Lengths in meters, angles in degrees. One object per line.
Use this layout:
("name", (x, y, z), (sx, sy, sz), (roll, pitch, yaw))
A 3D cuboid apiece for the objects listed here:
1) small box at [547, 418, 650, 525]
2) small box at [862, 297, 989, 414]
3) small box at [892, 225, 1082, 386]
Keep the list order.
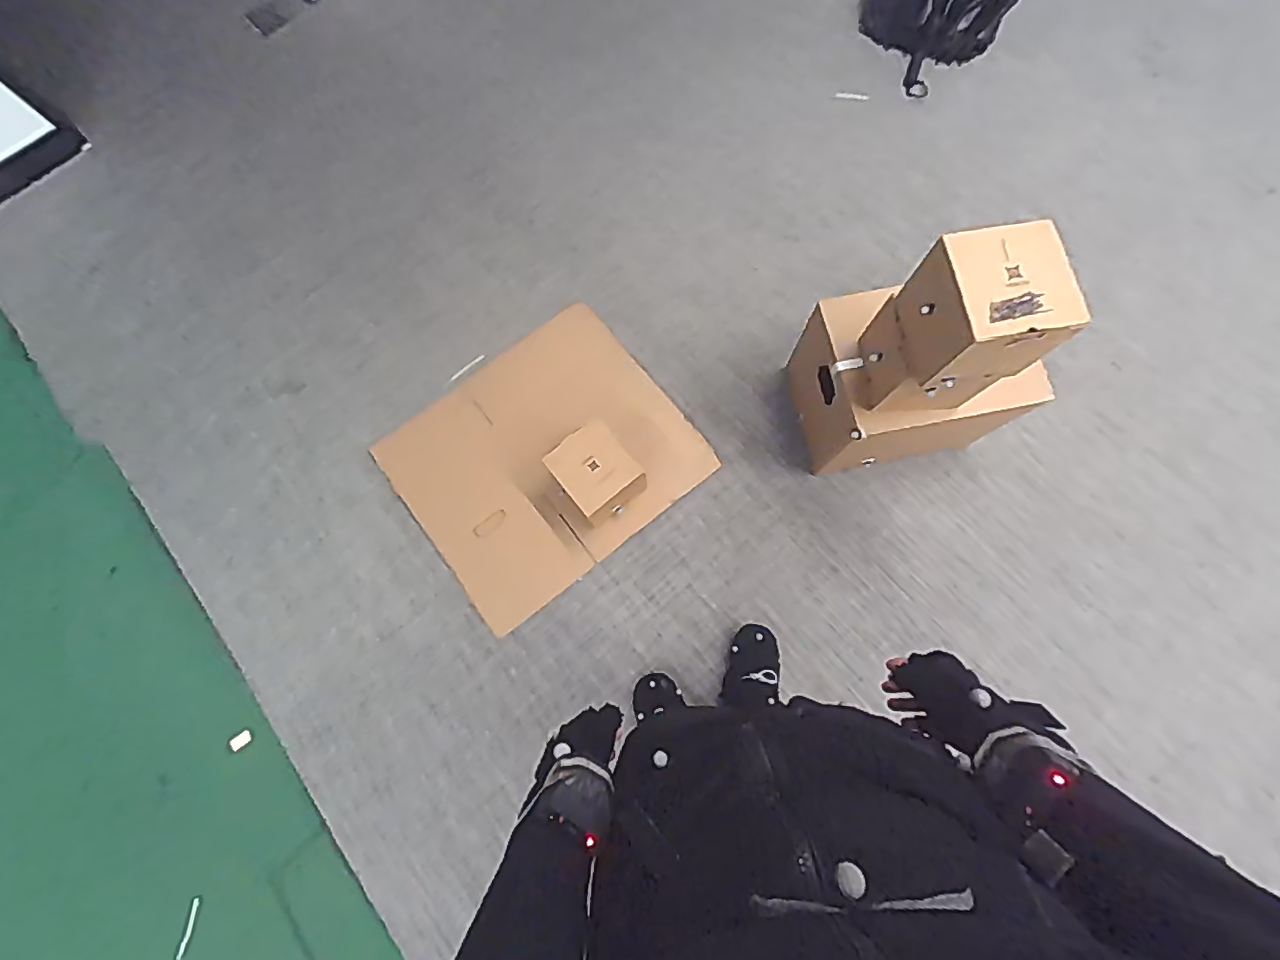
("small box", (-0.092, -0.011, 1.290), (0.168, 0.176, 0.179), (-40, 78, -5))
("small box", (0.537, -0.234, 1.019), (0.179, 0.176, 0.168), (-6, 74, 0))
("small box", (0.530, -0.261, 0.854), (0.168, 0.176, 0.179), (-11, 77, 0))
